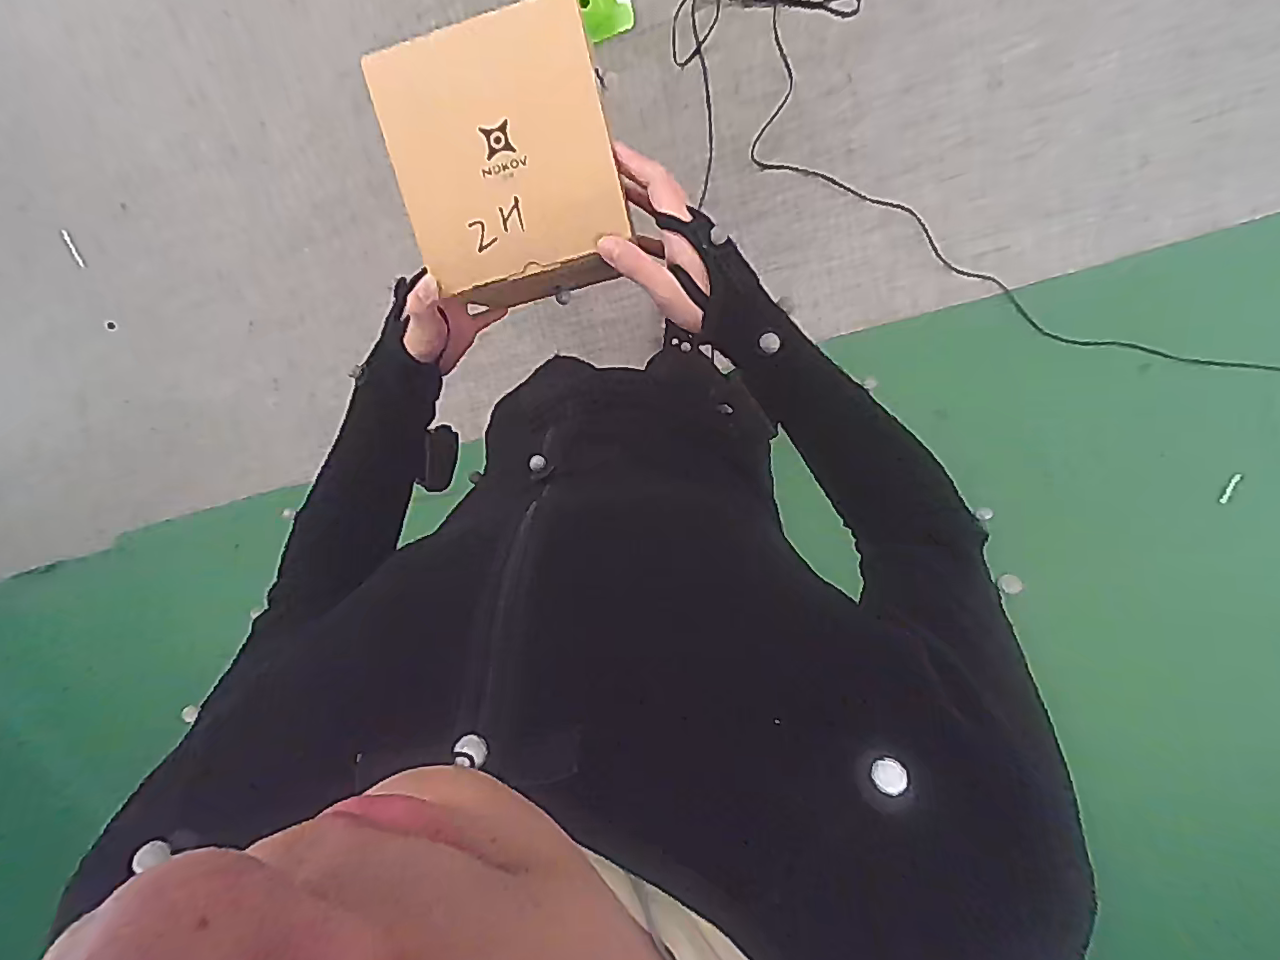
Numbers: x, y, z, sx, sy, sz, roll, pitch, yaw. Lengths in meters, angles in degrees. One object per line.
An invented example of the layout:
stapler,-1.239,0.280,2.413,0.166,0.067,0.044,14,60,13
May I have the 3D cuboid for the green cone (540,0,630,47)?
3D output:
green cone,-0.155,-1.081,1.088,0.202,0.368,0.200,-13,108,10
